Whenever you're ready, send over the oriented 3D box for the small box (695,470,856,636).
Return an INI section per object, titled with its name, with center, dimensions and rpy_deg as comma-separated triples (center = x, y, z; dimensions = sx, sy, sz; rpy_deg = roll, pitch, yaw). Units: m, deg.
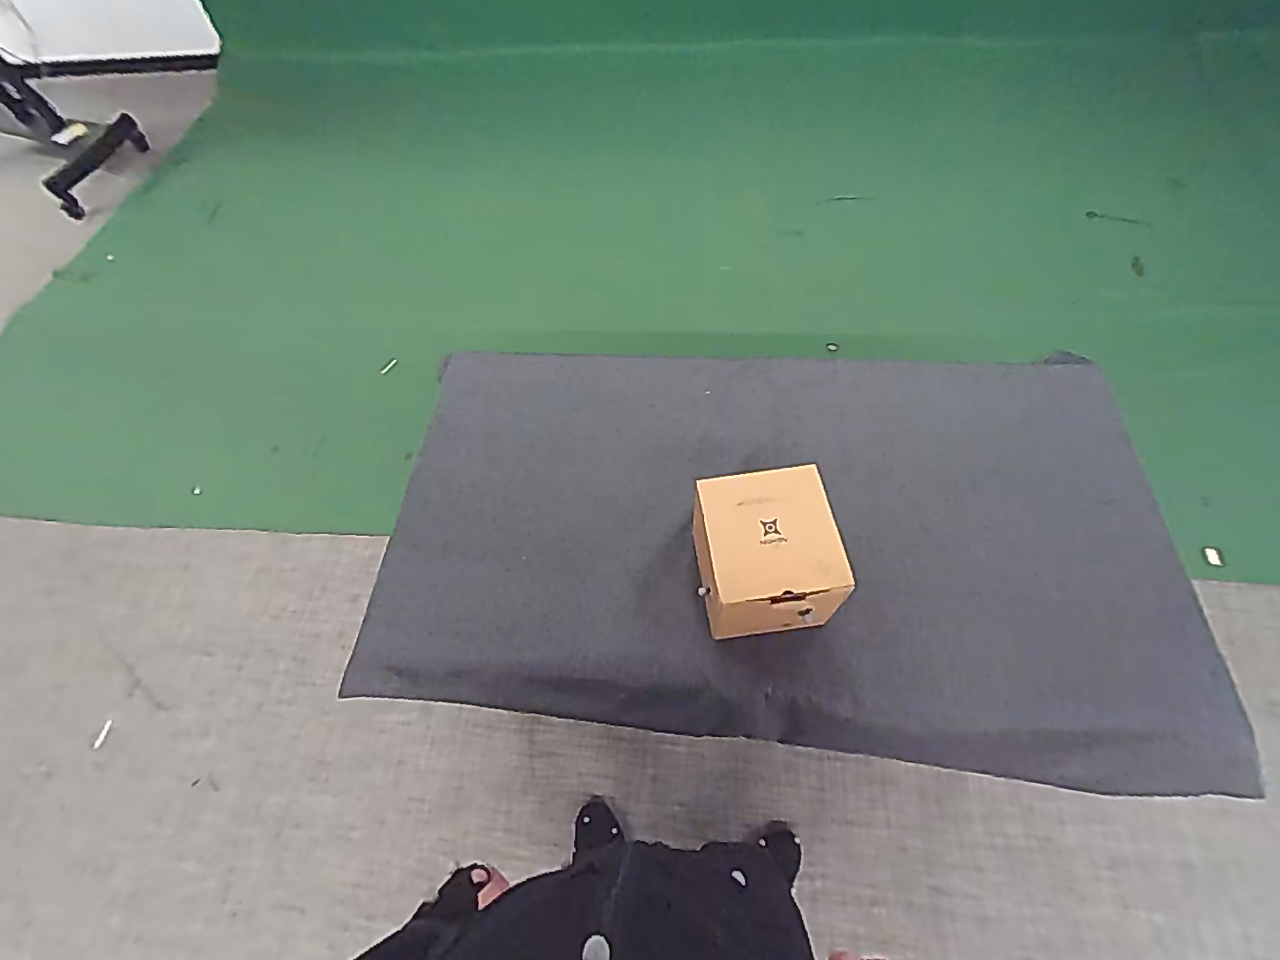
[small box]
center = 0.174, 0.110, 0.757
dimensions = 0.168, 0.176, 0.179
rpy_deg = -8, 59, -2
